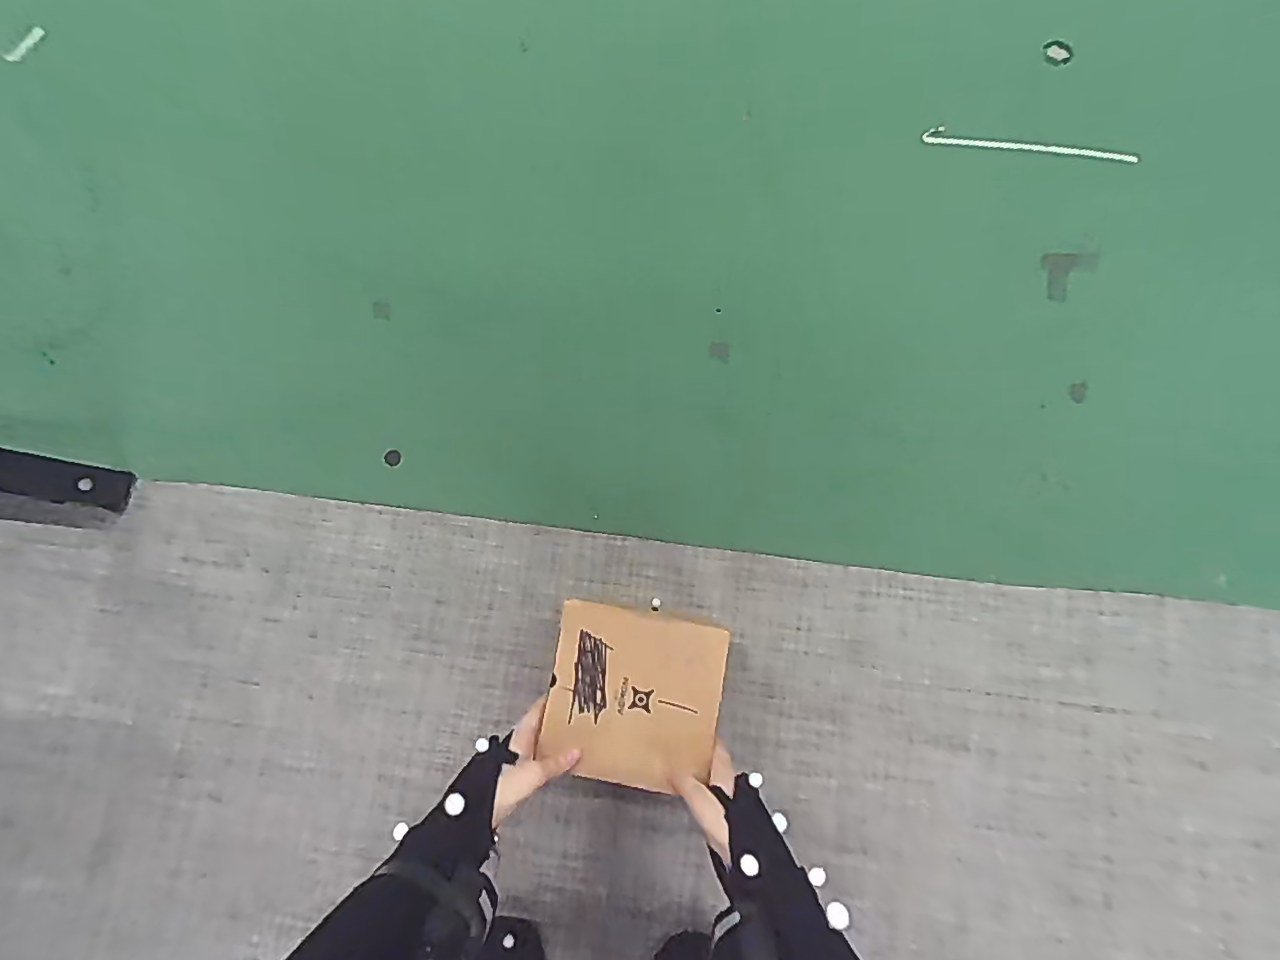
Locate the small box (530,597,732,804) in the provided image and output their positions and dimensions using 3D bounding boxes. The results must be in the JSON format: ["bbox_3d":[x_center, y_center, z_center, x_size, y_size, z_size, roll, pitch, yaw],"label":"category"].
[{"bbox_3d":[-0.006,0.228,0.608,0.179,0.176,0.168,10,80,3],"label":"small box"}]
